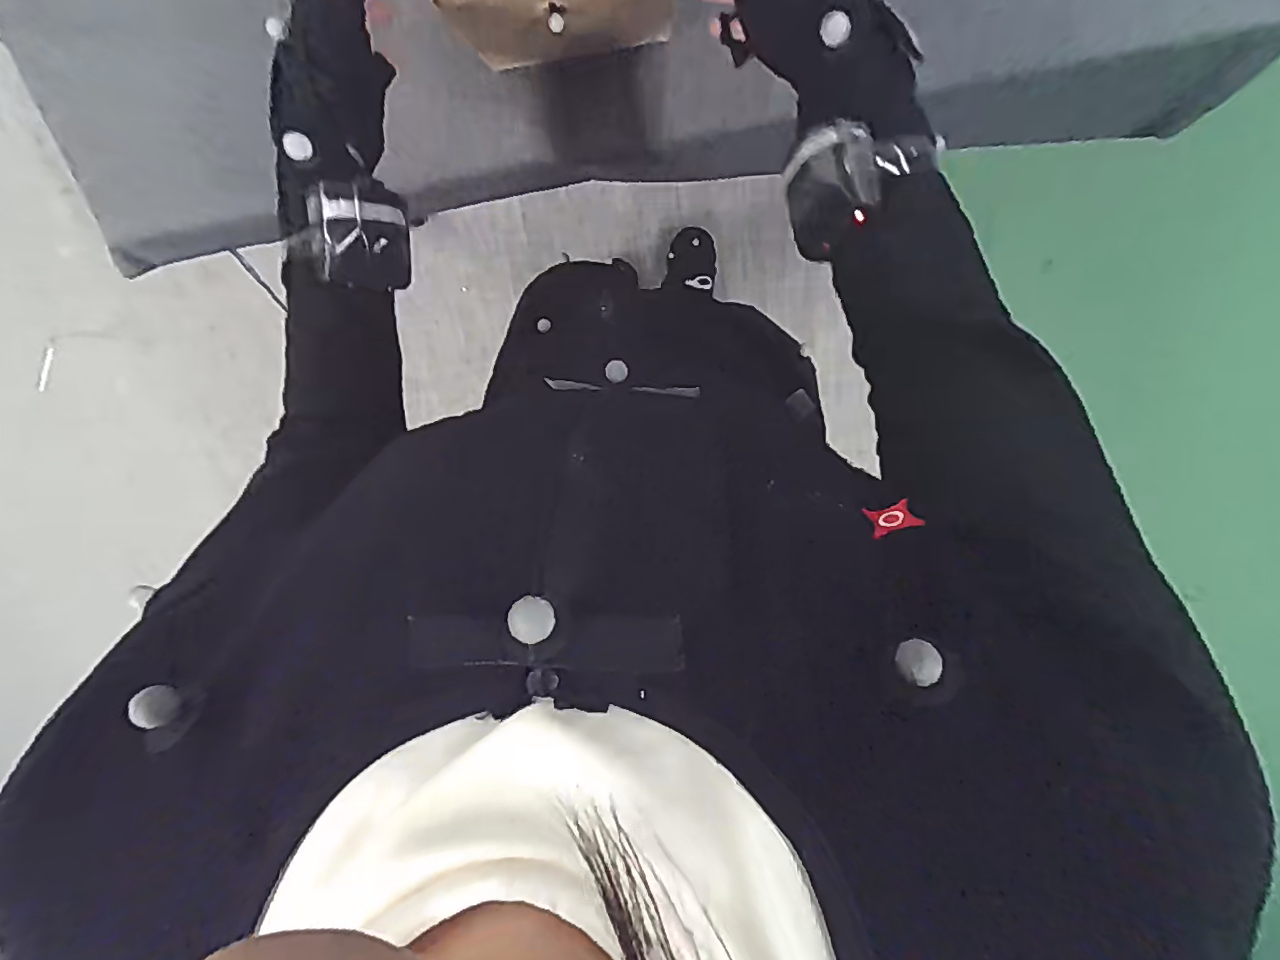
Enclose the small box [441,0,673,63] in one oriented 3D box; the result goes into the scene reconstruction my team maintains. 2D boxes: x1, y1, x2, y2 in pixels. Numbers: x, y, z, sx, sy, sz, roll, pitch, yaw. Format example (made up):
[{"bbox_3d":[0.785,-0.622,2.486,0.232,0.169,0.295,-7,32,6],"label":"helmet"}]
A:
[{"bbox_3d":[-0.067,-0.451,0.414,0.179,0.176,0.168,-8,115,4],"label":"small box"}]
